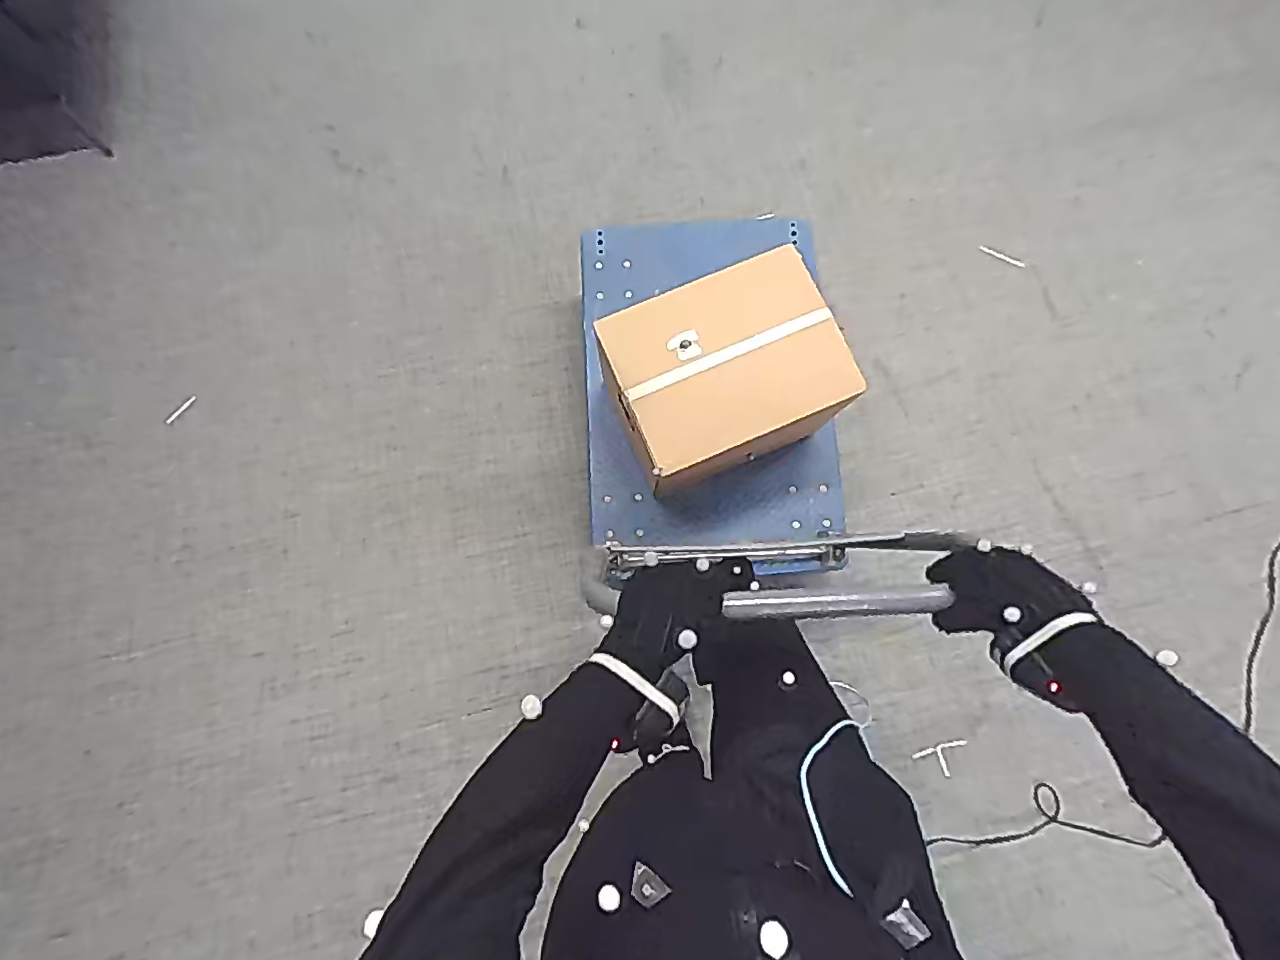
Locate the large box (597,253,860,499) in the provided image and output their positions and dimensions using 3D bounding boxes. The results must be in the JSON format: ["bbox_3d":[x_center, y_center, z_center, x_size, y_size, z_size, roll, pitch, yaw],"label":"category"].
[{"bbox_3d":[0.162,-0.190,1.130,0.408,0.320,0.320,-24,81,-3],"label":"large box"}]
